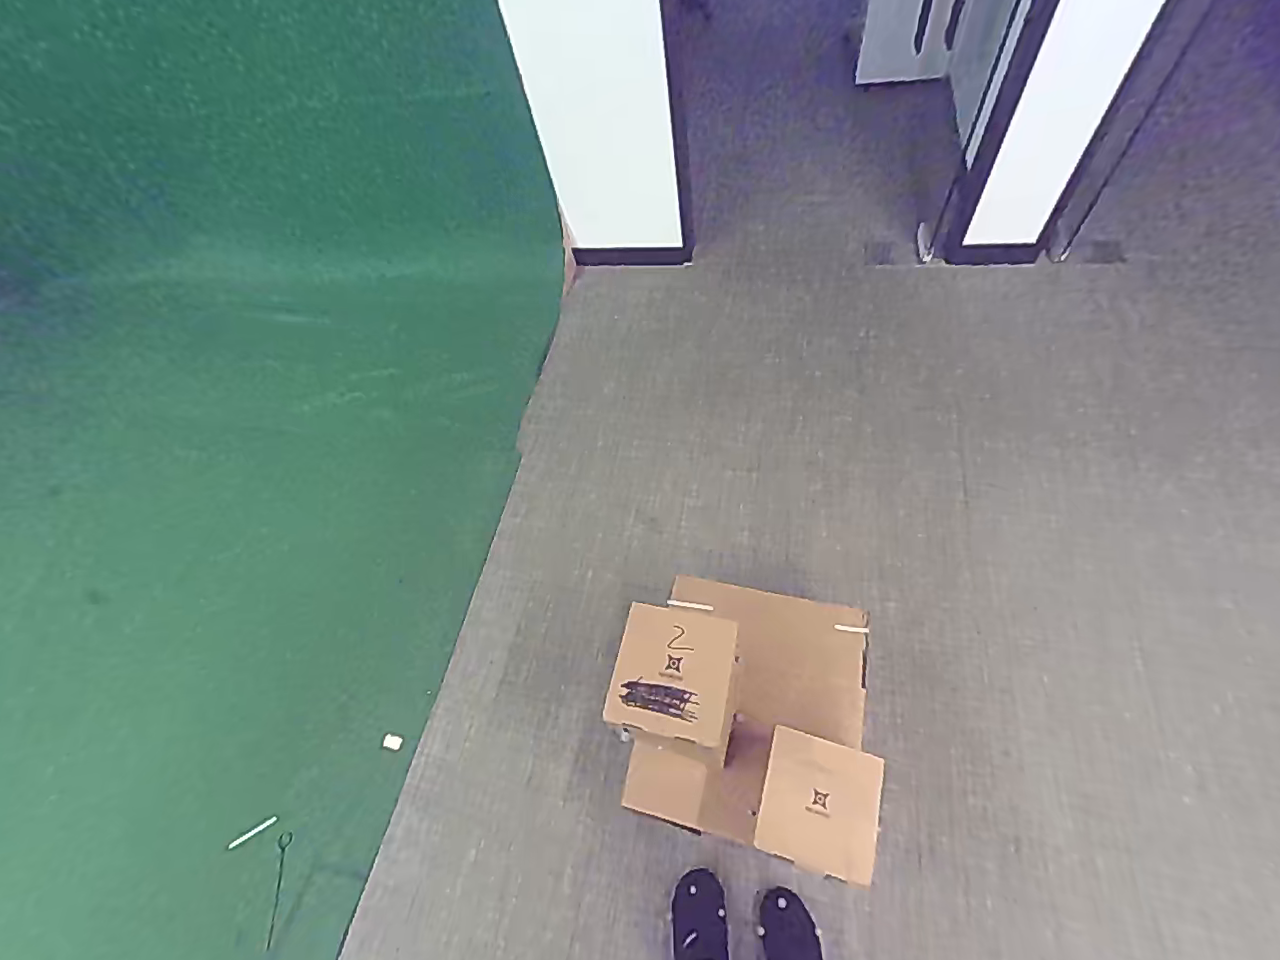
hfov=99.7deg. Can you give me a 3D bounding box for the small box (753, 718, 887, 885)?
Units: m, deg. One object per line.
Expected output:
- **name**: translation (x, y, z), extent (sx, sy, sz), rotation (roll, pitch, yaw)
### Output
- **small box**: translation (0.280, 0.508, 0.867), extent (0.168, 0.176, 0.179), rotation (13, 61, 15)

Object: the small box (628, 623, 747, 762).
- **small box**: translation (0.093, 0.386, 0.975), extent (0.168, 0.176, 0.179), rotation (11, 60, 17)
